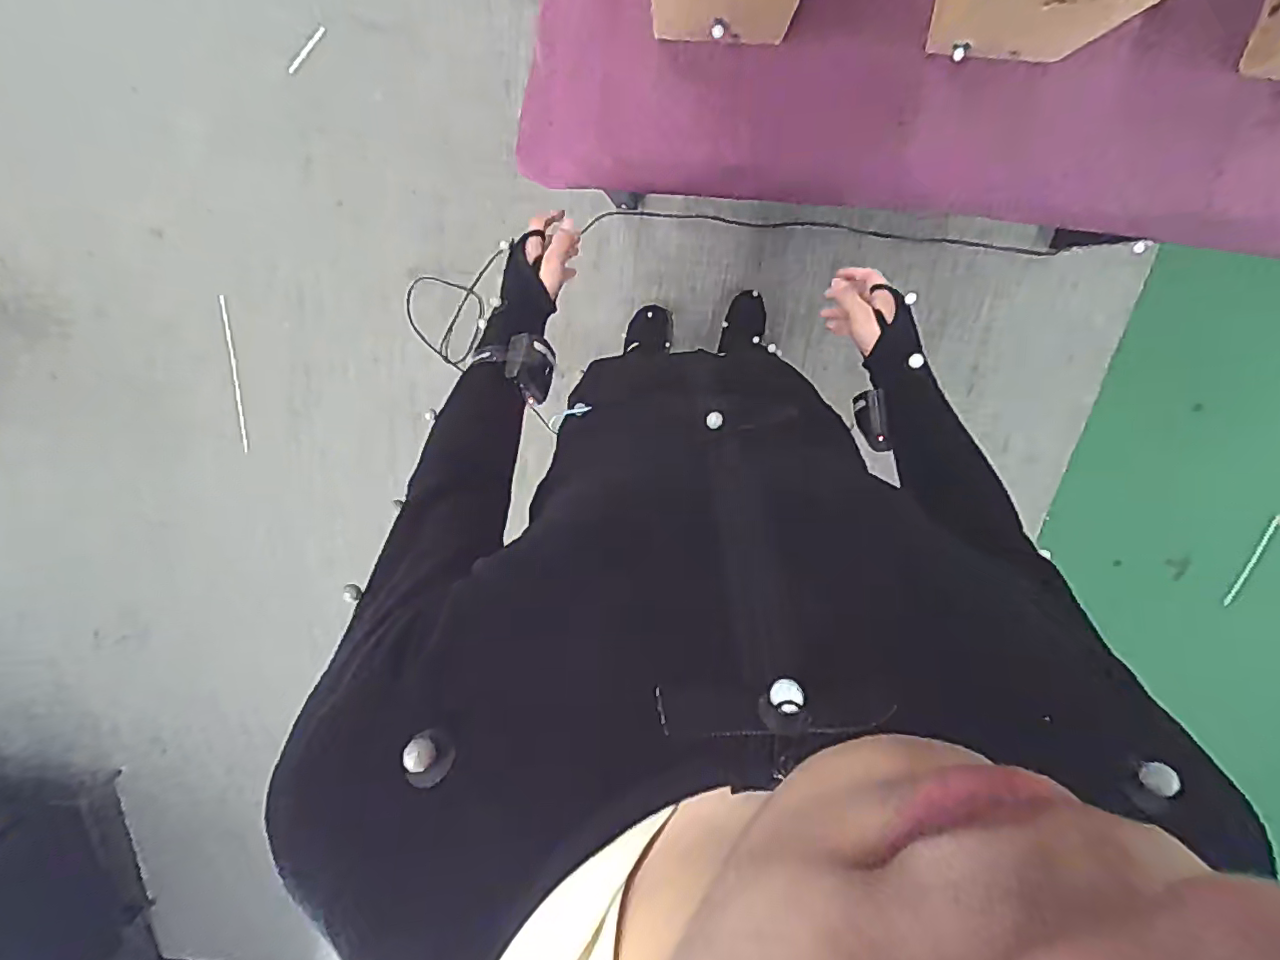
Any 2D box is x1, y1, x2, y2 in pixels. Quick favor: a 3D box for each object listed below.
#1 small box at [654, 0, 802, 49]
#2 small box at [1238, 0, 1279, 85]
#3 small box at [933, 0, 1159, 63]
[{"bbox_3d":[0.101,-0.614,0.590,0.168,0.176,0.179,5,110,2],"label":"small box"},{"bbox_3d":[0.835,-0.541,0.576,0.179,0.176,0.168,7,109,1],"label":"small box"},{"bbox_3d":[0.447,-0.585,0.582,0.168,0.176,0.179,5,109,1],"label":"small box"}]
